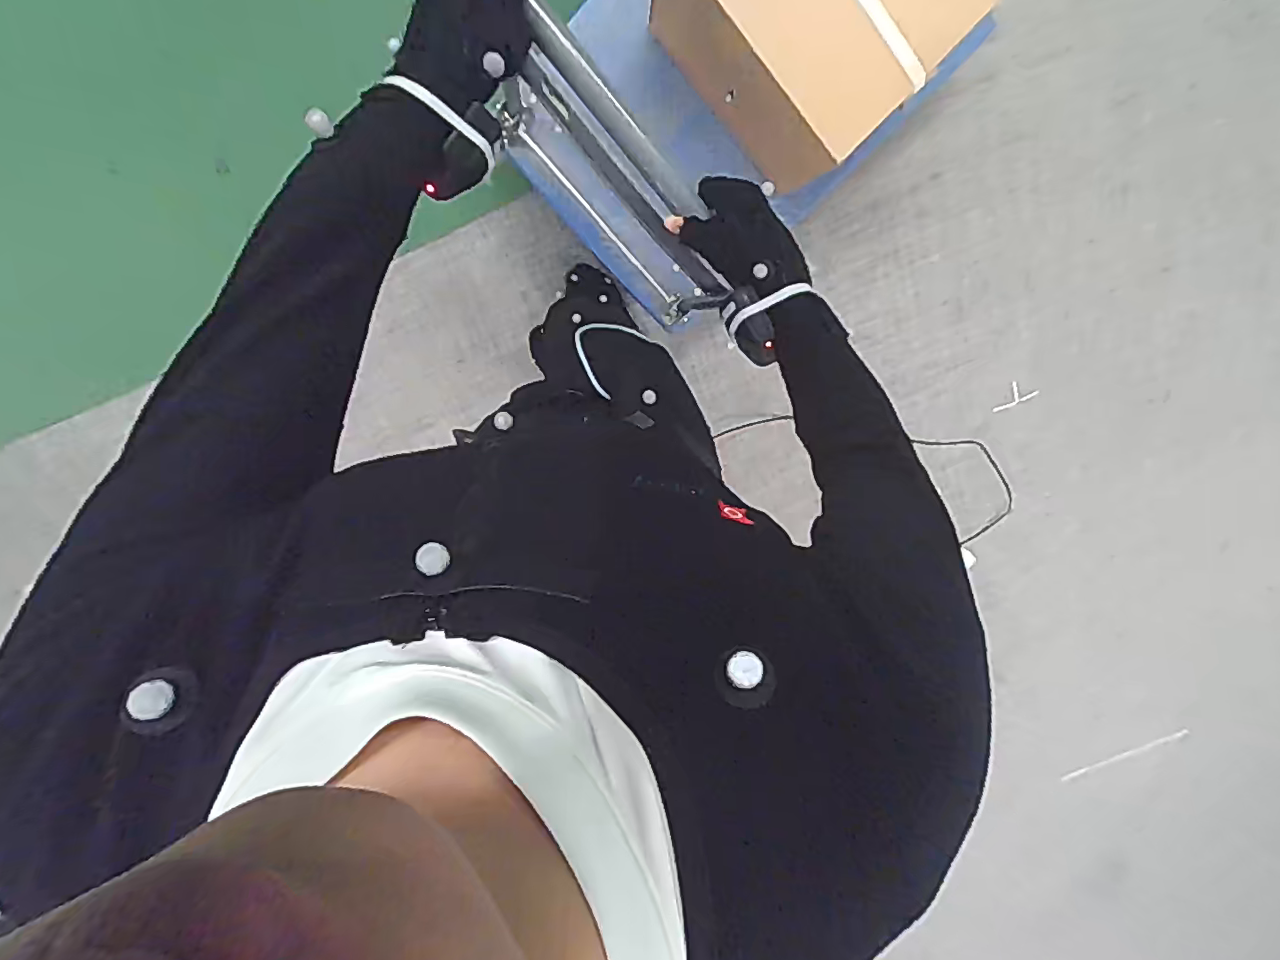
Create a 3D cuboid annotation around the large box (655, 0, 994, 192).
[{"bbox_3d":[0.277,-0.786,0.922,0.320,0.320,0.408,-44,106,11],"label":"large box"}]
